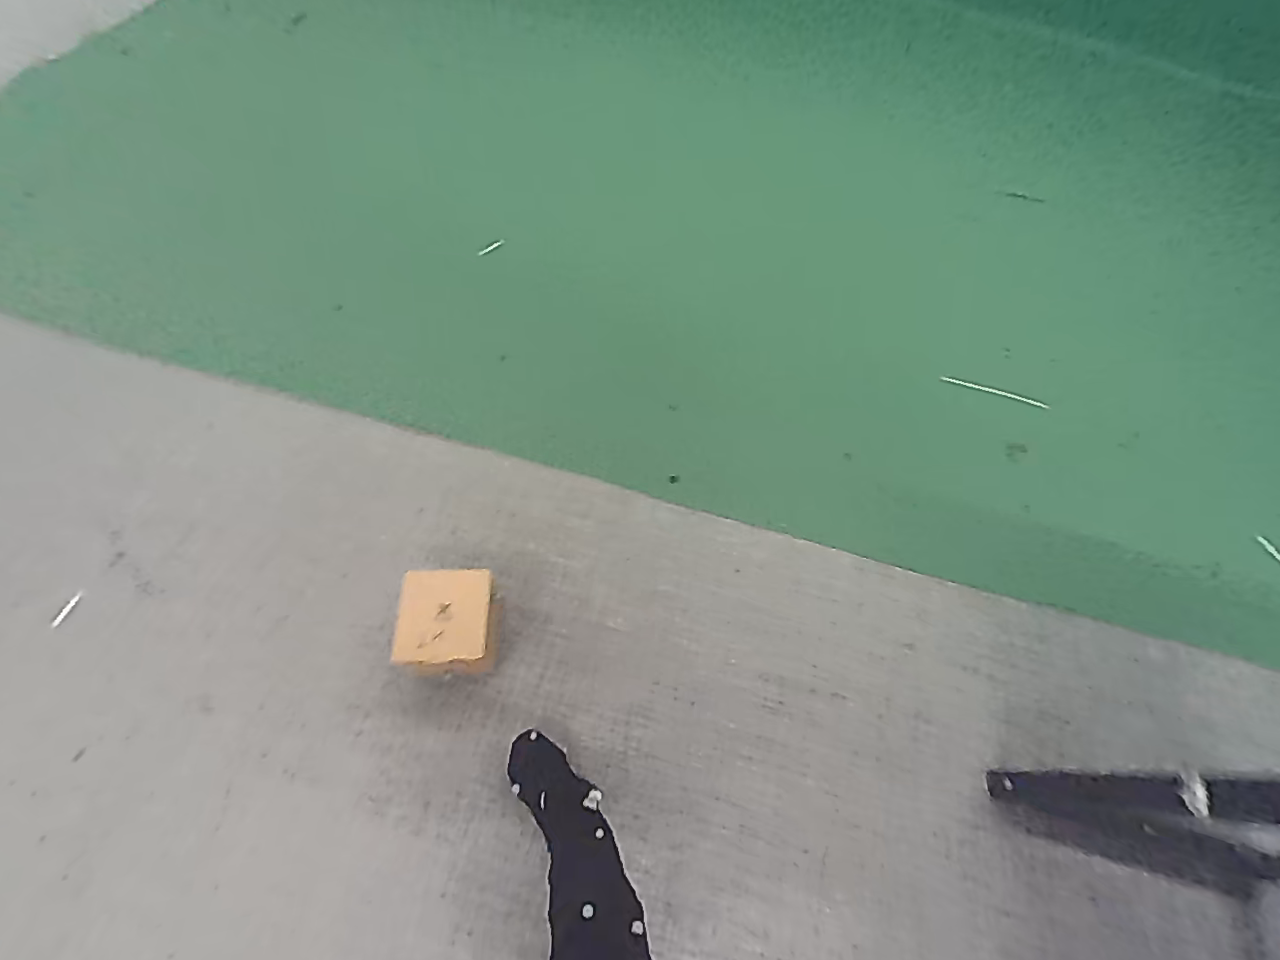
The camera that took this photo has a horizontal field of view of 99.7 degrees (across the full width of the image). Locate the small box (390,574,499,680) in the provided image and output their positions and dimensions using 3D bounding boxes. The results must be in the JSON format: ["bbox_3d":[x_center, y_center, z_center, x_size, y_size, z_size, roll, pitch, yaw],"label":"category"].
[{"bbox_3d":[-0.384,0.301,1.097,0.168,0.176,0.179,0,62,-6],"label":"small box"}]
